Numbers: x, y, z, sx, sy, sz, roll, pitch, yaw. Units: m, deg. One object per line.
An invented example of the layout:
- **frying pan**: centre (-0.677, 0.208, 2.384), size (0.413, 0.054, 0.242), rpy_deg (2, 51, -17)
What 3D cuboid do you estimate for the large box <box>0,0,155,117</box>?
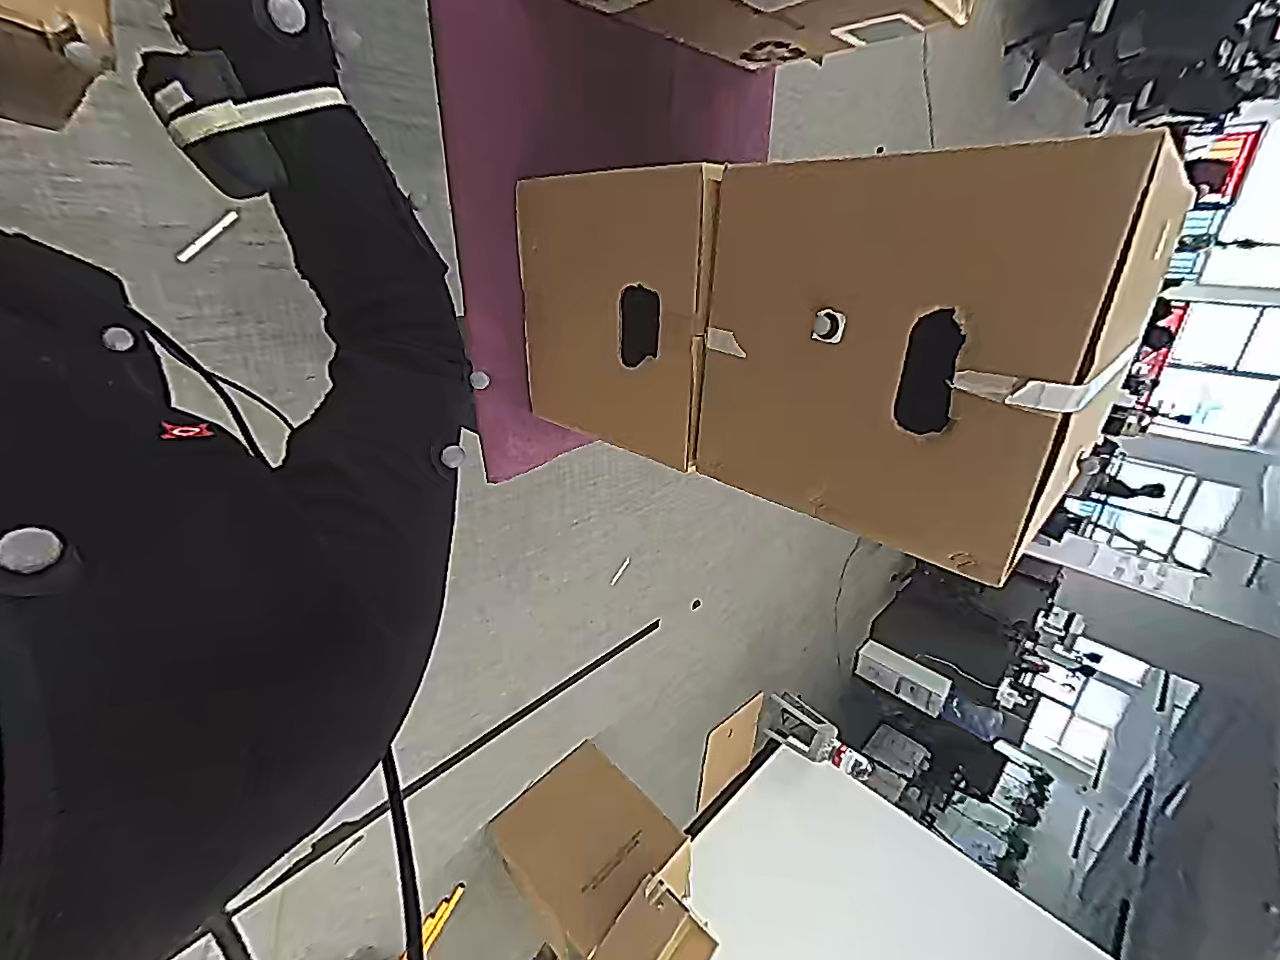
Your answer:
- **large box**: centre (-0.421, -0.414, 0.181), size (0.320, 0.320, 0.408), rpy_deg (-11, 116, -46)
